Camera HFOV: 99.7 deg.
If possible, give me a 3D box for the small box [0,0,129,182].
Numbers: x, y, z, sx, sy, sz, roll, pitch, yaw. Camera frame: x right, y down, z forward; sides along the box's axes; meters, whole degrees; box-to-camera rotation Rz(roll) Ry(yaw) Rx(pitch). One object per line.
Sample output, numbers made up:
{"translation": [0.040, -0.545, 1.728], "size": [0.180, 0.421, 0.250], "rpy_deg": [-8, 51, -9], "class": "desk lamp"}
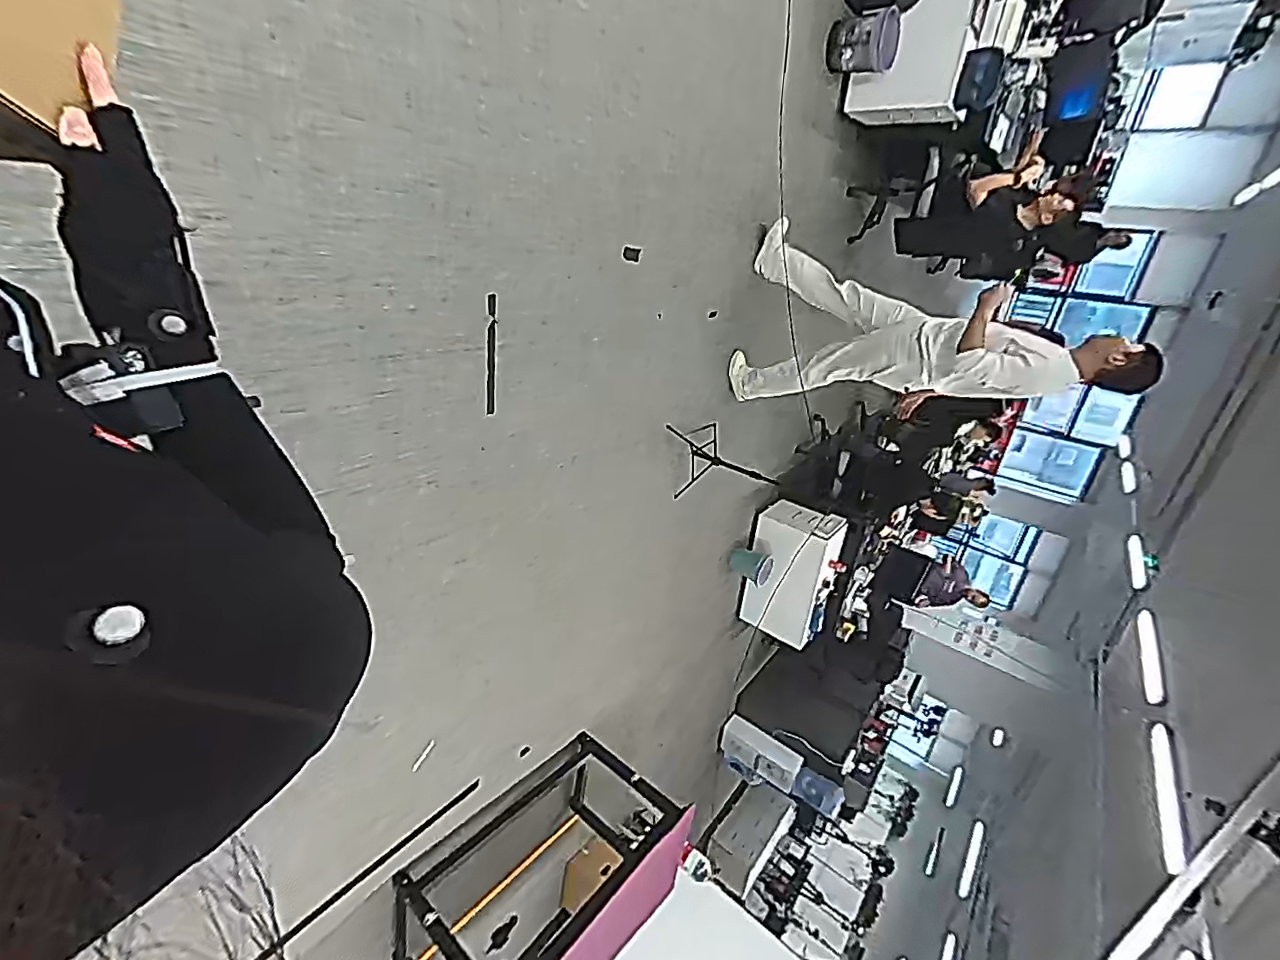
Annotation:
{"translation": [-0.423, -0.290, 0.278], "size": [0.179, 0.168, 0.176], "rpy_deg": [155, -62, -84], "class": "small box"}
